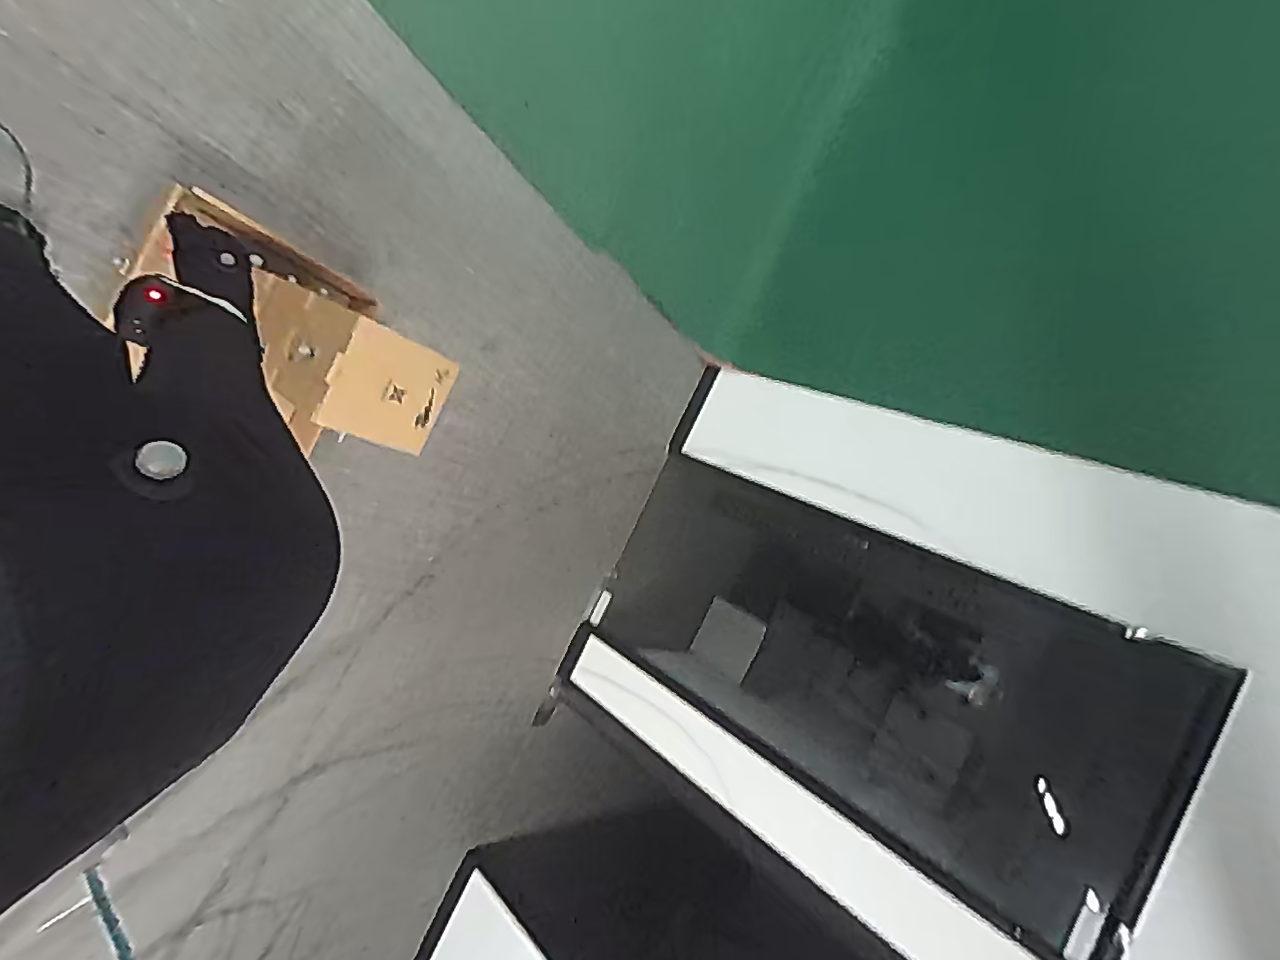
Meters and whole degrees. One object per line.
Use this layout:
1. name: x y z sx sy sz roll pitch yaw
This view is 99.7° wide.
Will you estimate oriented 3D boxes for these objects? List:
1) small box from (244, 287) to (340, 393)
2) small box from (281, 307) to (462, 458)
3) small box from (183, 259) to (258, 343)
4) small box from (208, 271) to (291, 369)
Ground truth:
1. small box: -0.551 -0.220 0.950 0.179 0.176 0.168 25 91 -56
2. small box: -0.429 -0.158 0.861 0.179 0.176 0.168 25 92 -55
3. small box: -0.798 -0.338 1.128 0.179 0.176 0.168 30 86 -55
4. small box: -0.676 -0.278 1.038 0.179 0.176 0.168 28 88 -55
